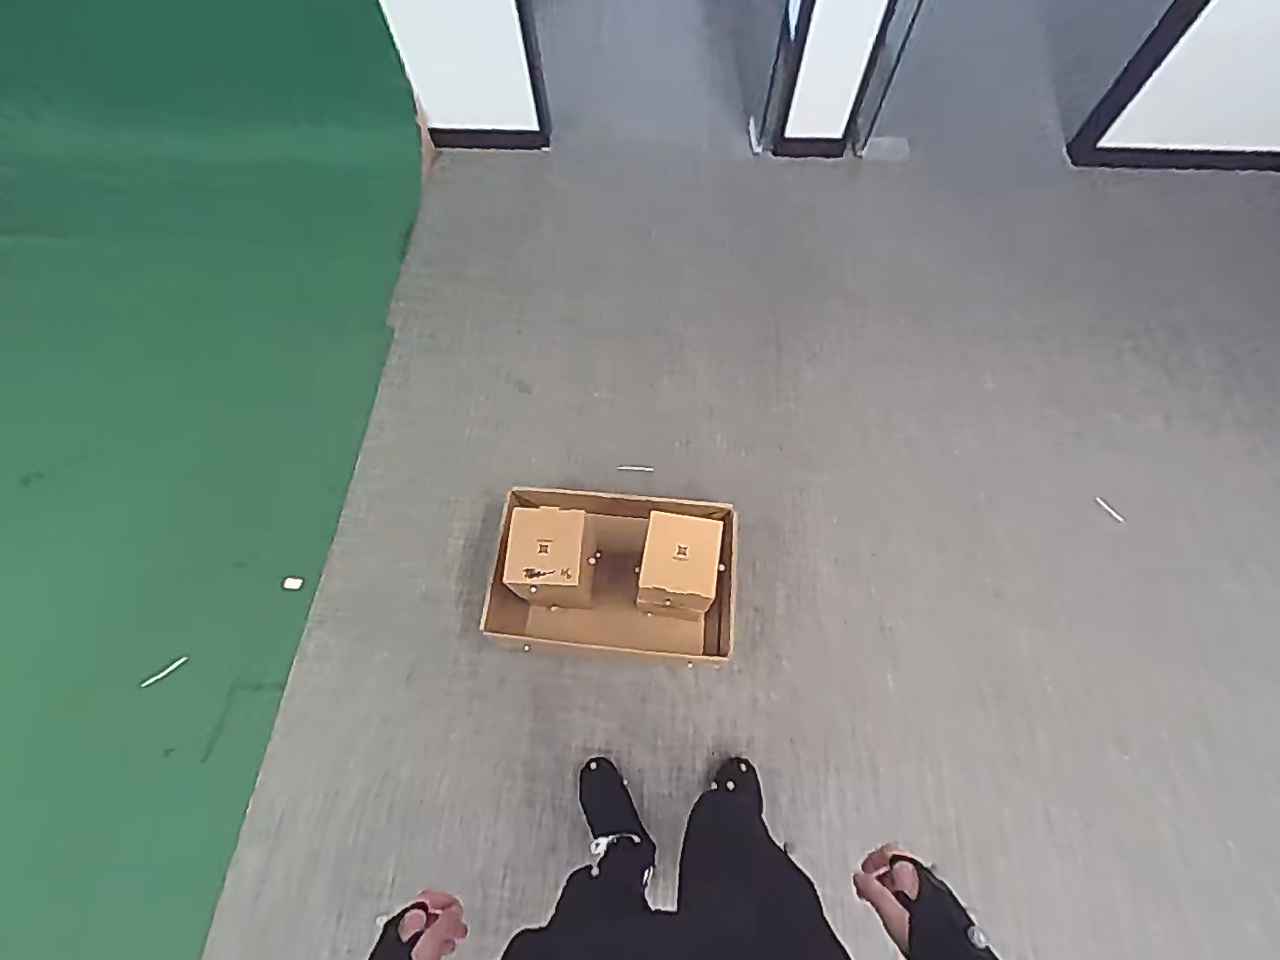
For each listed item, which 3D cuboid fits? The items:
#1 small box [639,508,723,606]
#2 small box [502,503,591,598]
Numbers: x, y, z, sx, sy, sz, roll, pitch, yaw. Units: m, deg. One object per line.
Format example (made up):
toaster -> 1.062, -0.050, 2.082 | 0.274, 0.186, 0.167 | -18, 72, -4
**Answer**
small box -> 0.090, 0.183, 1.253 | 0.168, 0.176, 0.179 | 9, 69, 3
small box -> -0.209, 0.168, 1.259 | 0.168, 0.176, 0.179 | 2, 67, 3
